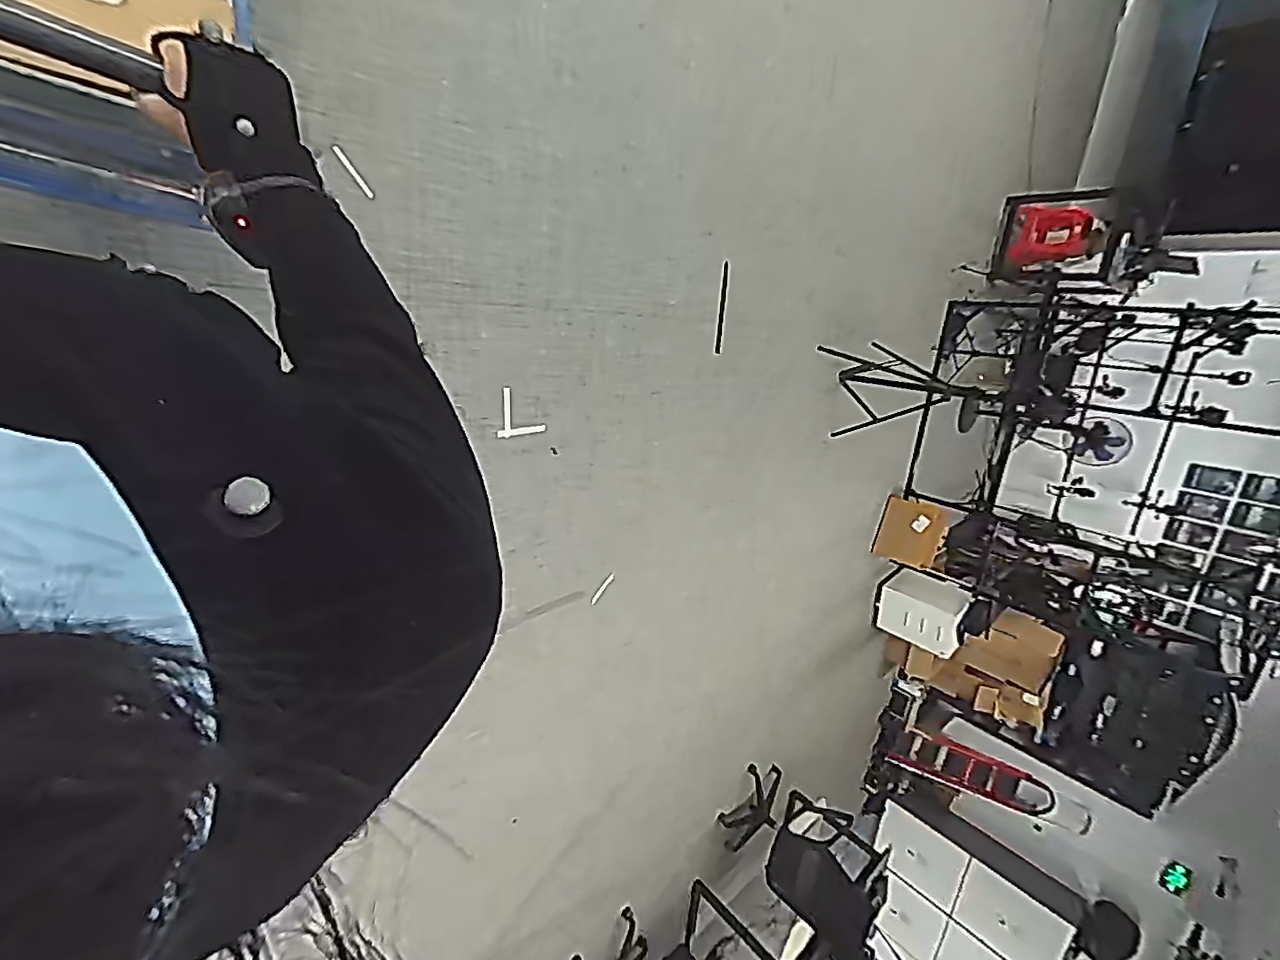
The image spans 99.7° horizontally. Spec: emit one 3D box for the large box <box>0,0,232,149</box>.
[{"bbox_3d":[-0.804,-0.672,0.686,0.408,0.320,0.320,-7,111,-45],"label":"large box"}]
